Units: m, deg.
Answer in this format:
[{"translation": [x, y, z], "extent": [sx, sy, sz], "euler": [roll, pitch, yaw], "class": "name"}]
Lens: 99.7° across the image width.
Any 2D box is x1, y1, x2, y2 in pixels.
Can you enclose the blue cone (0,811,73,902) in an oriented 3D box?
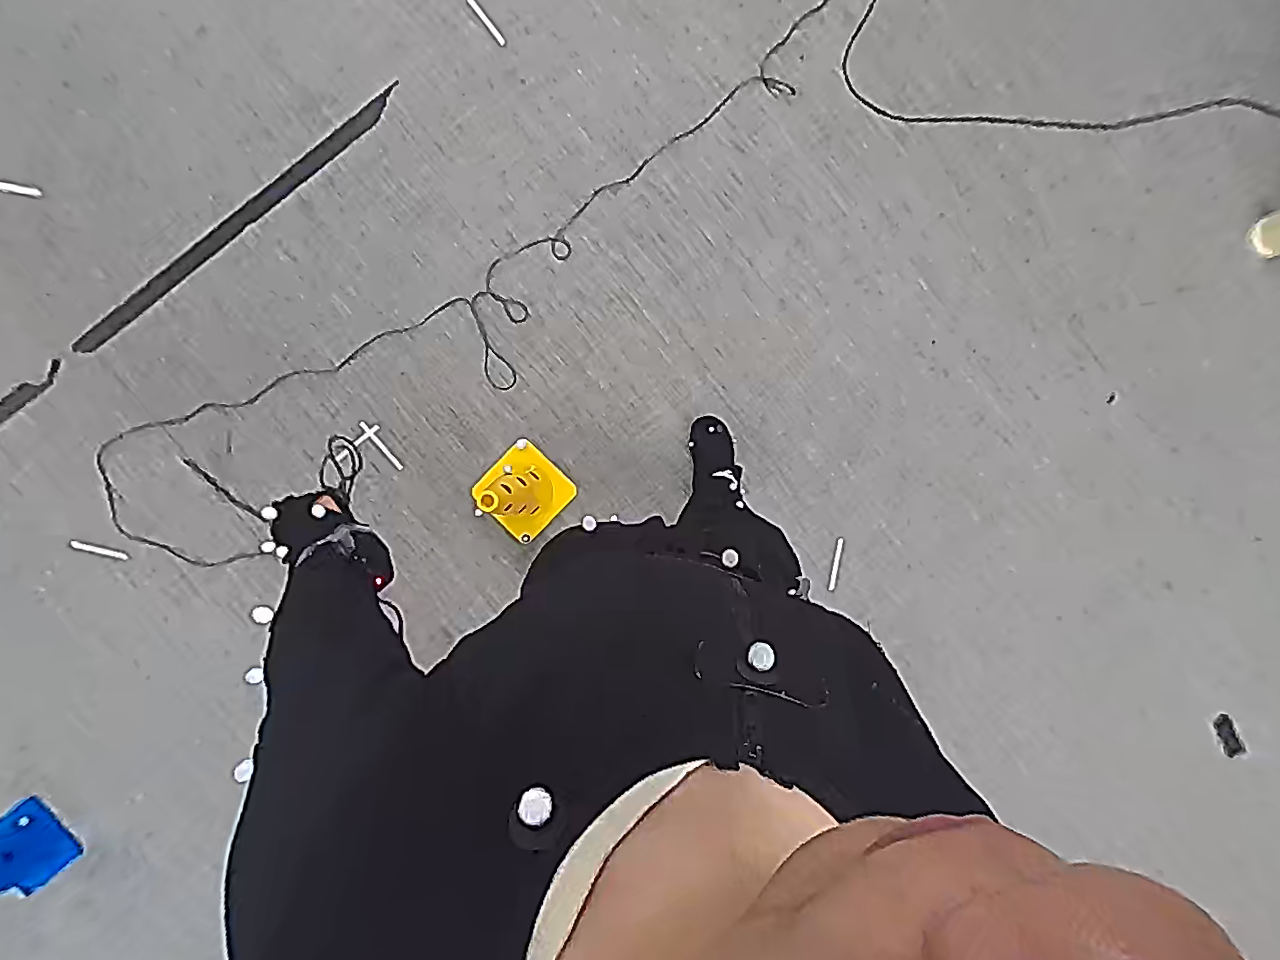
[{"translation": [-1.540, 0.949, 1.189], "extent": [0.193, 0.380, 0.192], "euler": [-38, 93, 1], "class": "blue cone"}]
